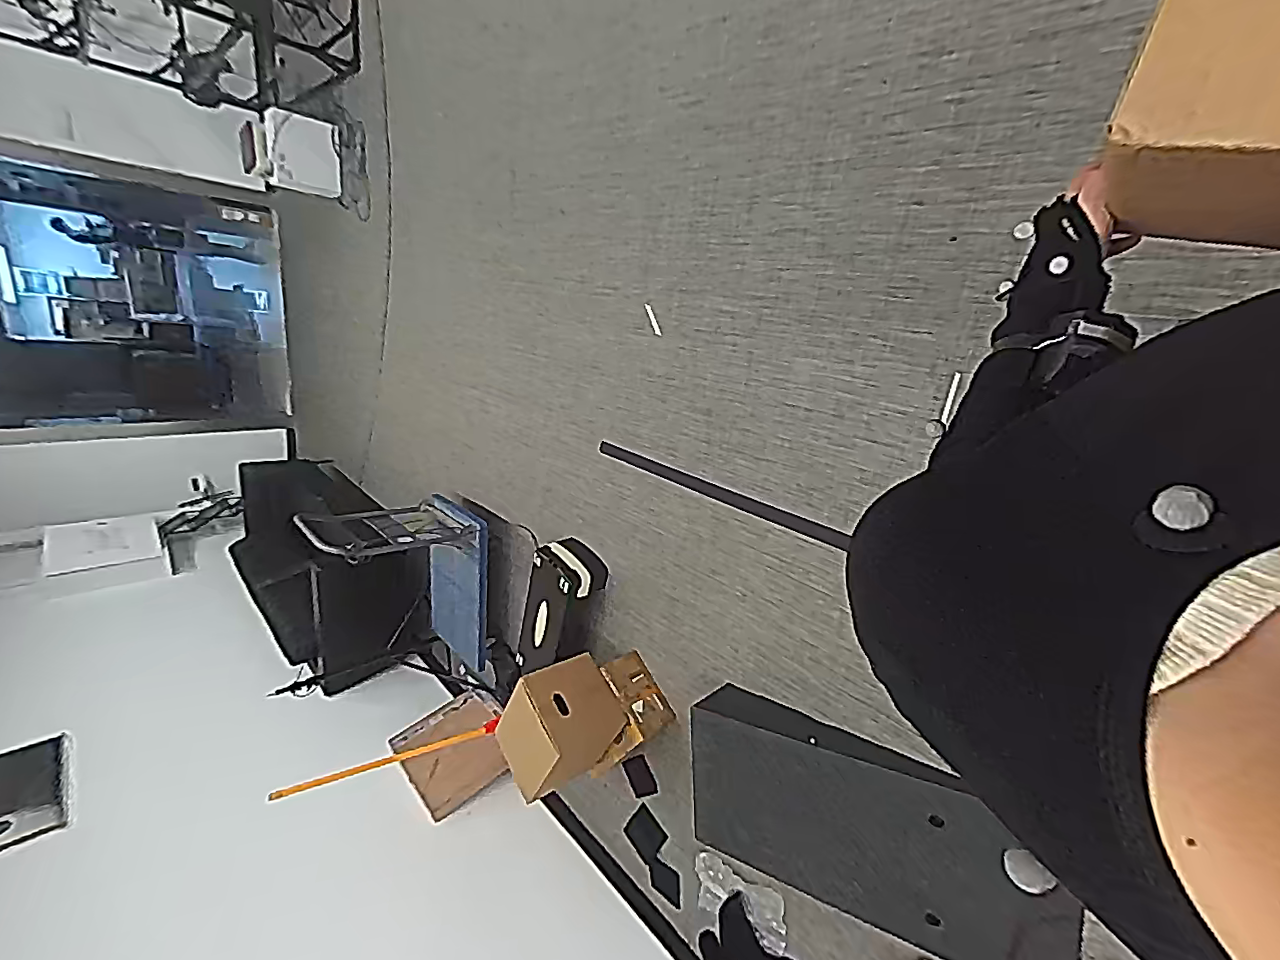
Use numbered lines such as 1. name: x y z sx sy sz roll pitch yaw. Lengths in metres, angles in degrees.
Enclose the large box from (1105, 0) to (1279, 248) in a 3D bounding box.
1. large box: 0.488 -0.260 0.204 0.408 0.320 0.320 25 118 33
